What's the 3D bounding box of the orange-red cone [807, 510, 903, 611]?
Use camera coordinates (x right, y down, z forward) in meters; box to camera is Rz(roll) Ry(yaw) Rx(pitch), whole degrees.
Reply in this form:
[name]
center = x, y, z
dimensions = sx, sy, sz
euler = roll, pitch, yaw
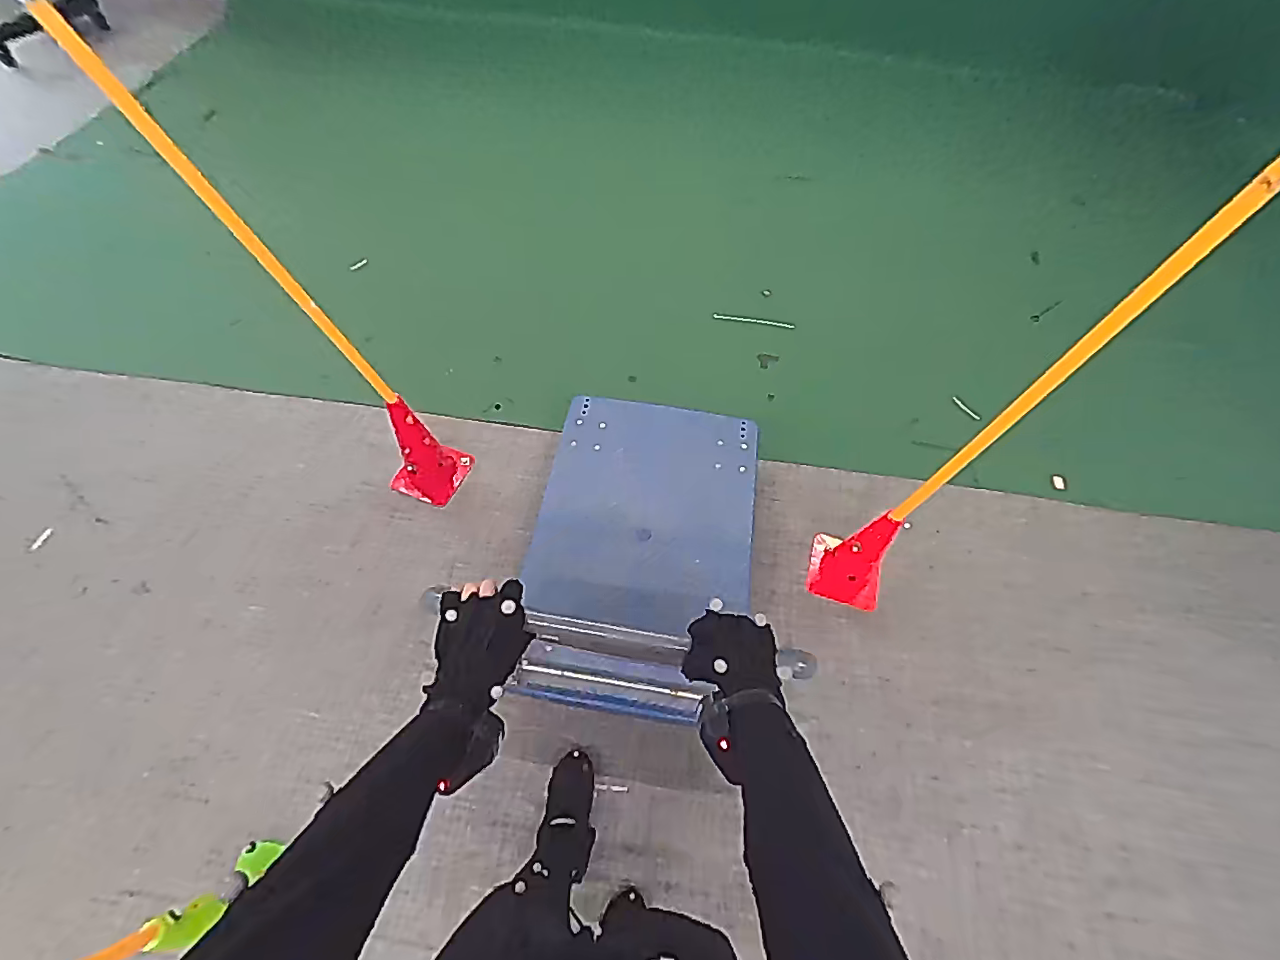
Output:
[orange-red cone]
center = 0.603, 0.180, 1.431
dimensions = 0.198, 0.360, 0.199
euler = 17, 60, 9
